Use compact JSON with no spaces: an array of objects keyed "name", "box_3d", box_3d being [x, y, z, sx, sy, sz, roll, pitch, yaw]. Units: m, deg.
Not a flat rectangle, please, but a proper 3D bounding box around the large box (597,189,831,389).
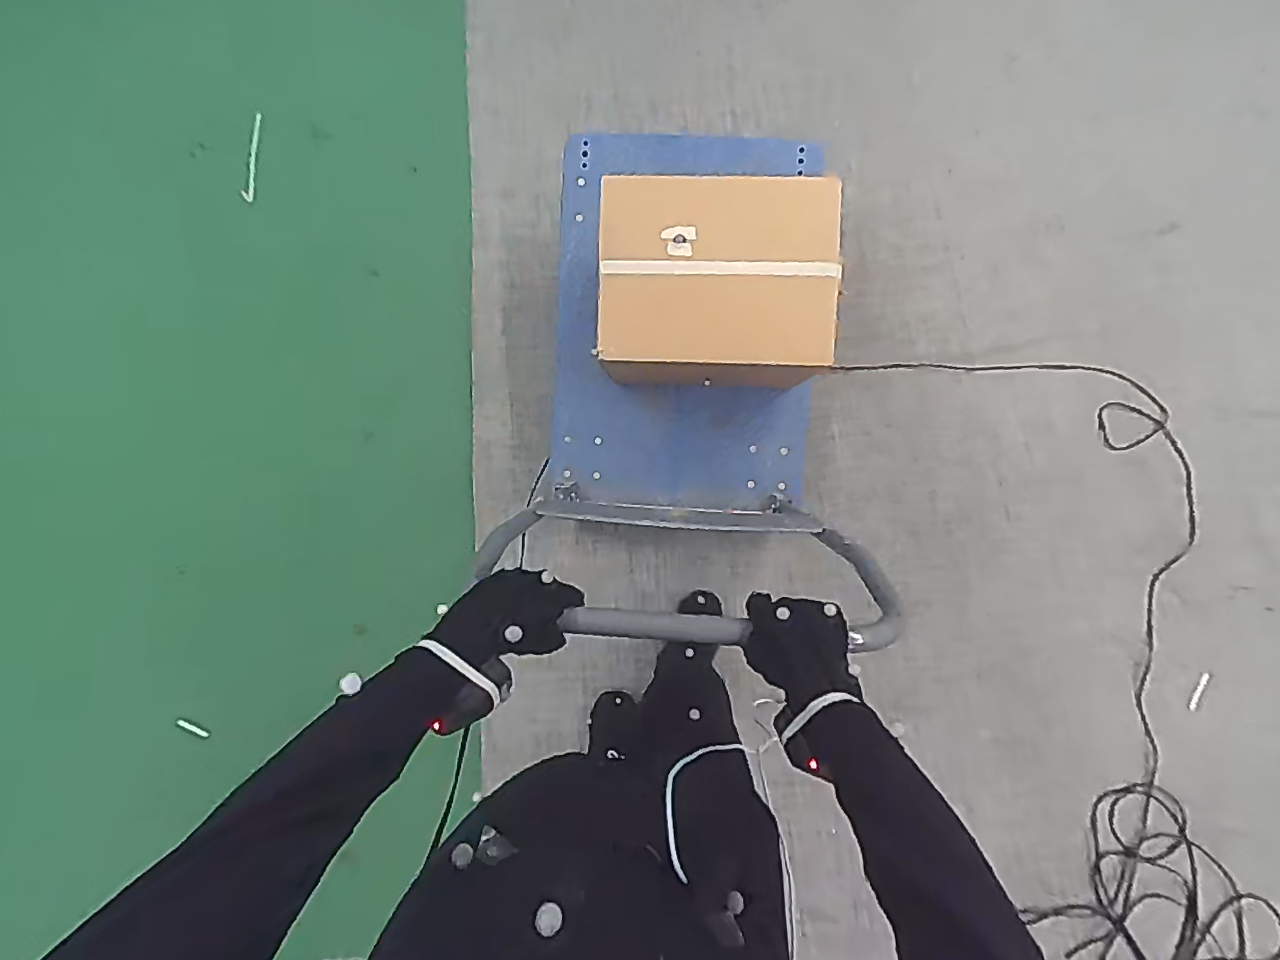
[{"name":"large box","box_3d":[0.137,-0.350,1.082,0.408,0.320,0.320,2,92,4]}]
